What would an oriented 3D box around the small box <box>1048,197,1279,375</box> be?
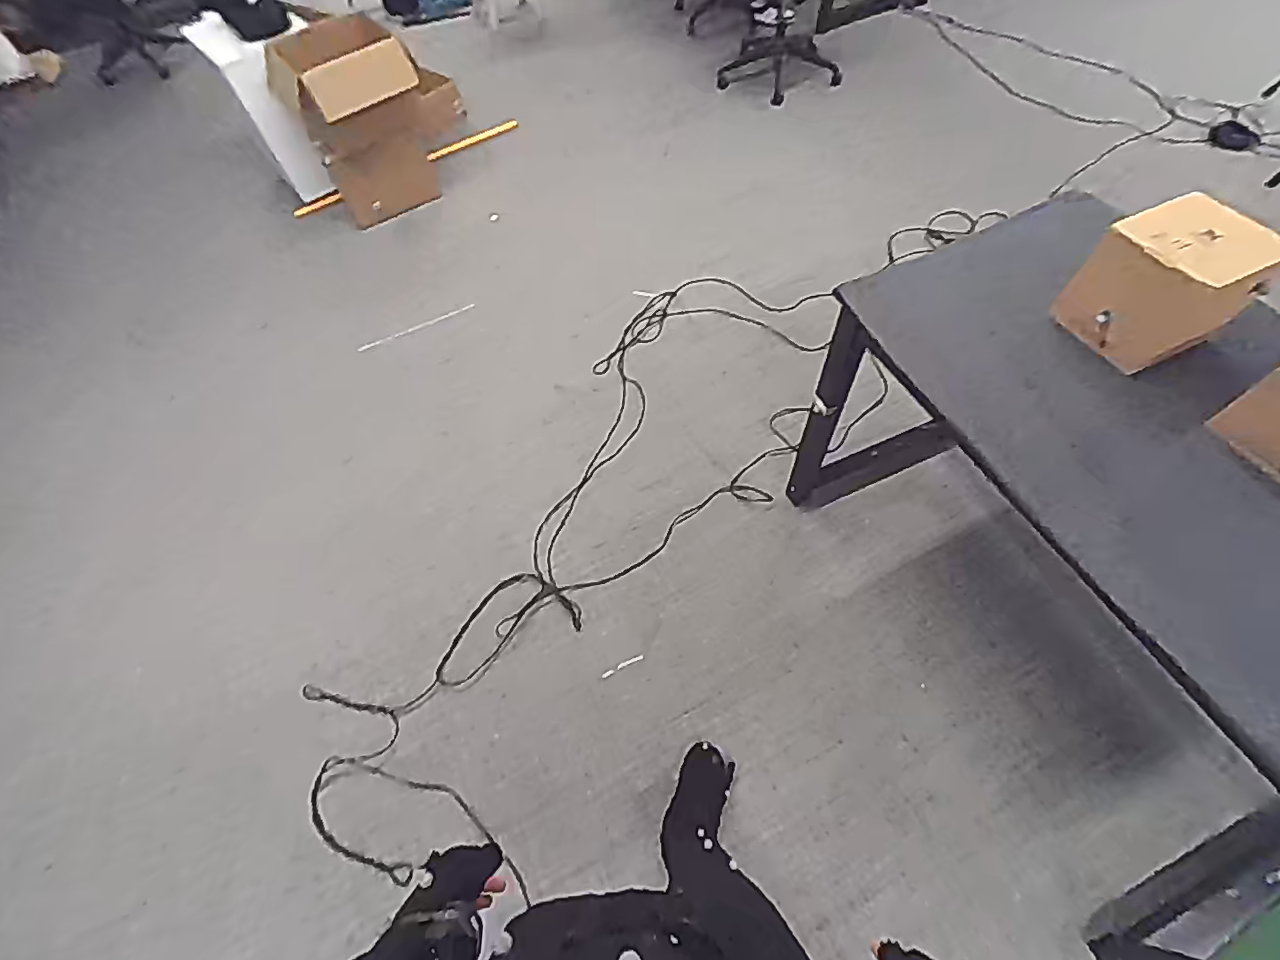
[{"bbox_3d":[0.798,-0.296,0.839,0.179,0.176,0.168,-23,60,-9],"label":"small box"}]
